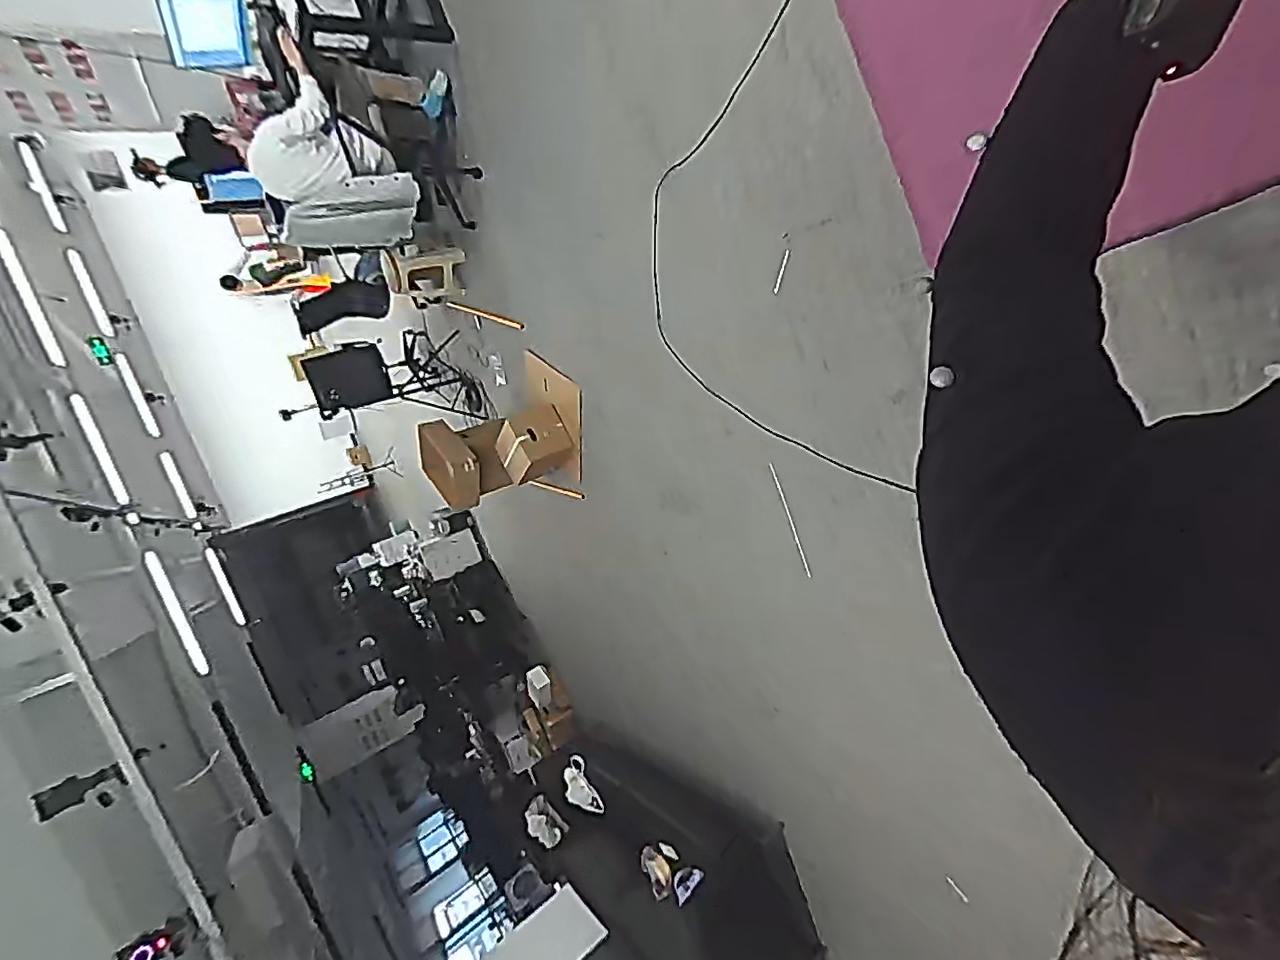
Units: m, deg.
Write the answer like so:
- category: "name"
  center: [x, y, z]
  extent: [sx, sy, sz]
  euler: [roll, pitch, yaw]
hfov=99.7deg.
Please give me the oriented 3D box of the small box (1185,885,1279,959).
- category: "small box"
  center: [1.447, 1.131, 1.286]
  extent: [0.179, 0.176, 0.168]
  euler: [17, 123, 52]
